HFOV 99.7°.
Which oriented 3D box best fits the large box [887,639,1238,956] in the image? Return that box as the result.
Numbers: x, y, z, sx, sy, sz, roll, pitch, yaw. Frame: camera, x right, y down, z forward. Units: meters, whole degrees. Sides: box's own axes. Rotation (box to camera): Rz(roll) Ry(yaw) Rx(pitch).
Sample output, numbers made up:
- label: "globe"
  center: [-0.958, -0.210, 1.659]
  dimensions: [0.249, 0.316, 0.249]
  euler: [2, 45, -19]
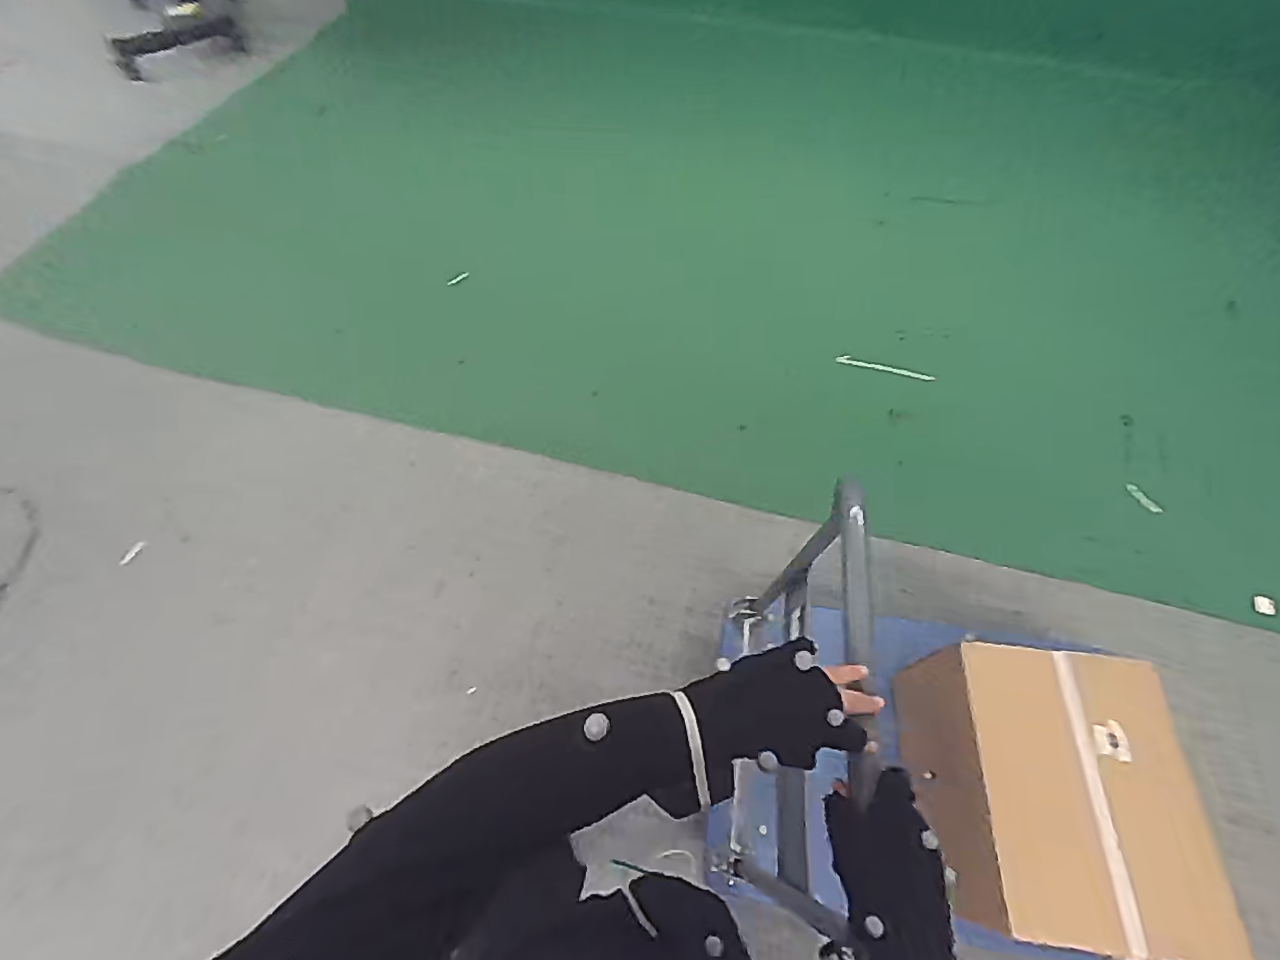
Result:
- label: "large box"
  center: [0.671, 0.538, 0.958]
  dimensions: [0.320, 0.320, 0.408]
  euler: [6, 58, 3]
